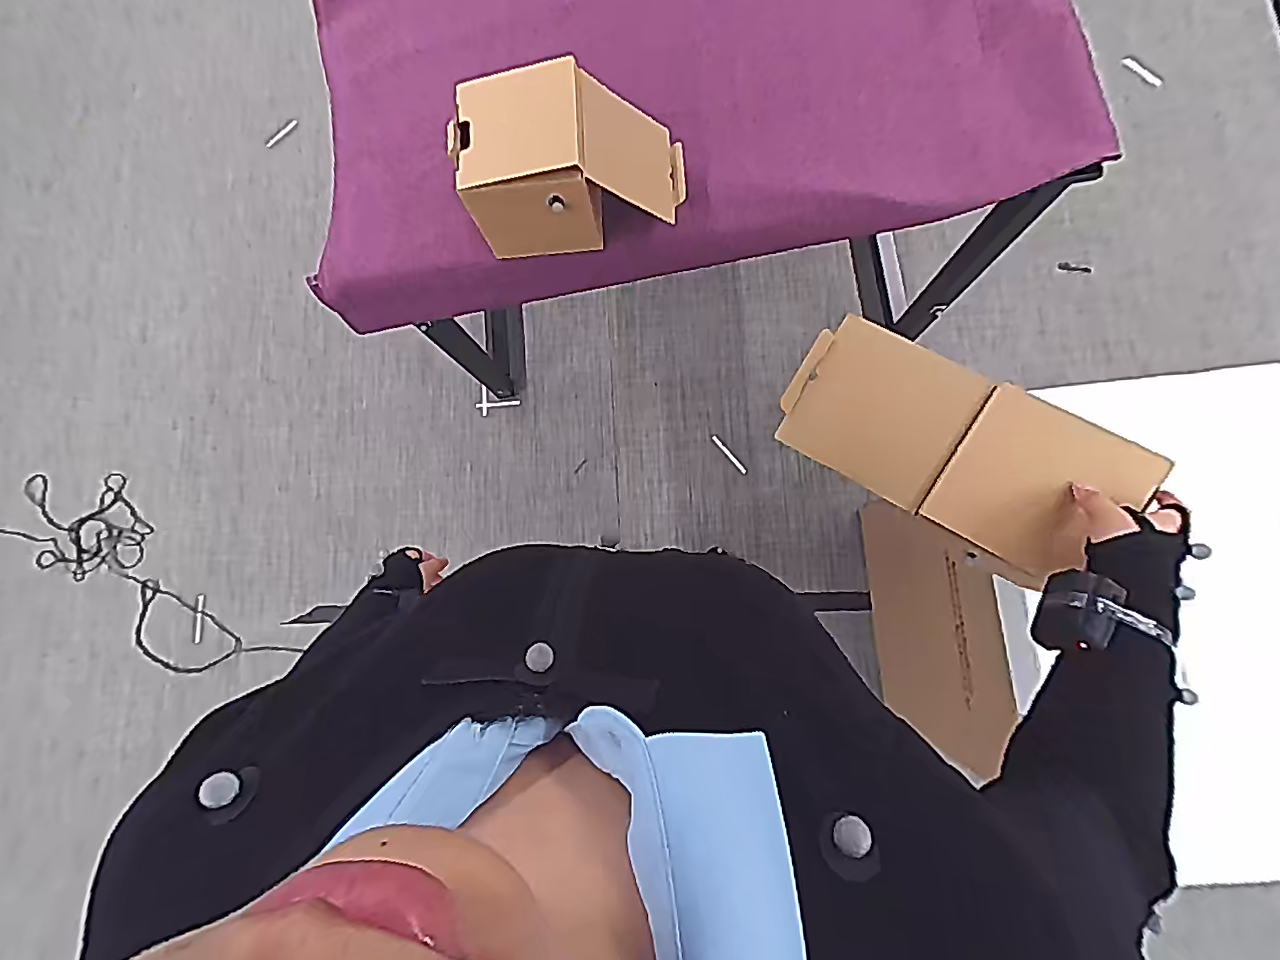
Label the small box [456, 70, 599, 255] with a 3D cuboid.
[{"bbox_3d":[-0.156,-0.459,0.806,0.179,0.176,0.168,-3,80,5],"label":"small box"}]
